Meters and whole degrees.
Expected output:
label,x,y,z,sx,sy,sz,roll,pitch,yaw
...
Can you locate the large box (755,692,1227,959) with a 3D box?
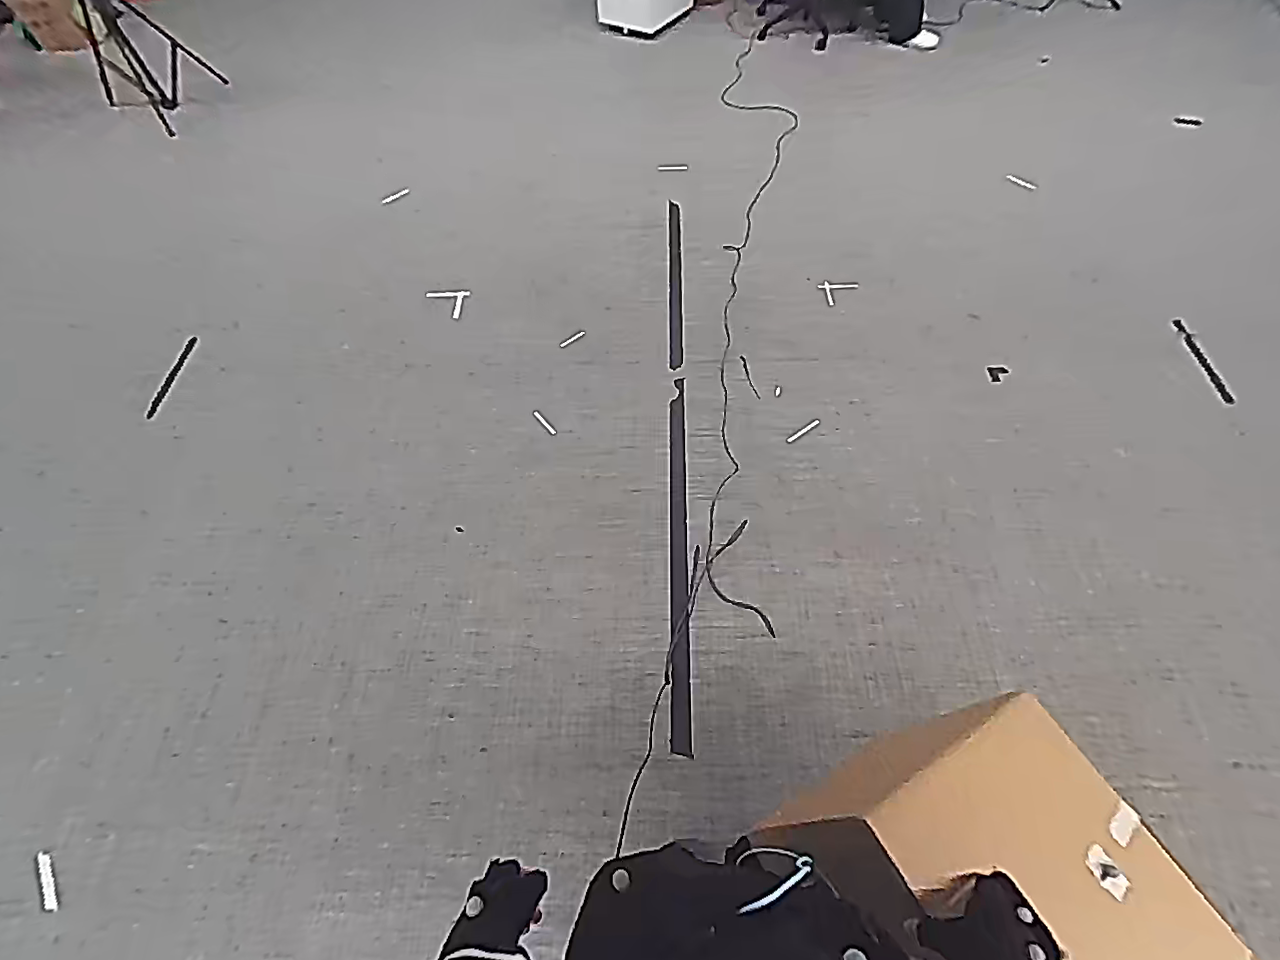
label,x,y,z,sx,sy,sz,roll,pitch,yaw
large box,0.425,0.556,0.758,0.320,0.408,0.320,-21,61,-22
